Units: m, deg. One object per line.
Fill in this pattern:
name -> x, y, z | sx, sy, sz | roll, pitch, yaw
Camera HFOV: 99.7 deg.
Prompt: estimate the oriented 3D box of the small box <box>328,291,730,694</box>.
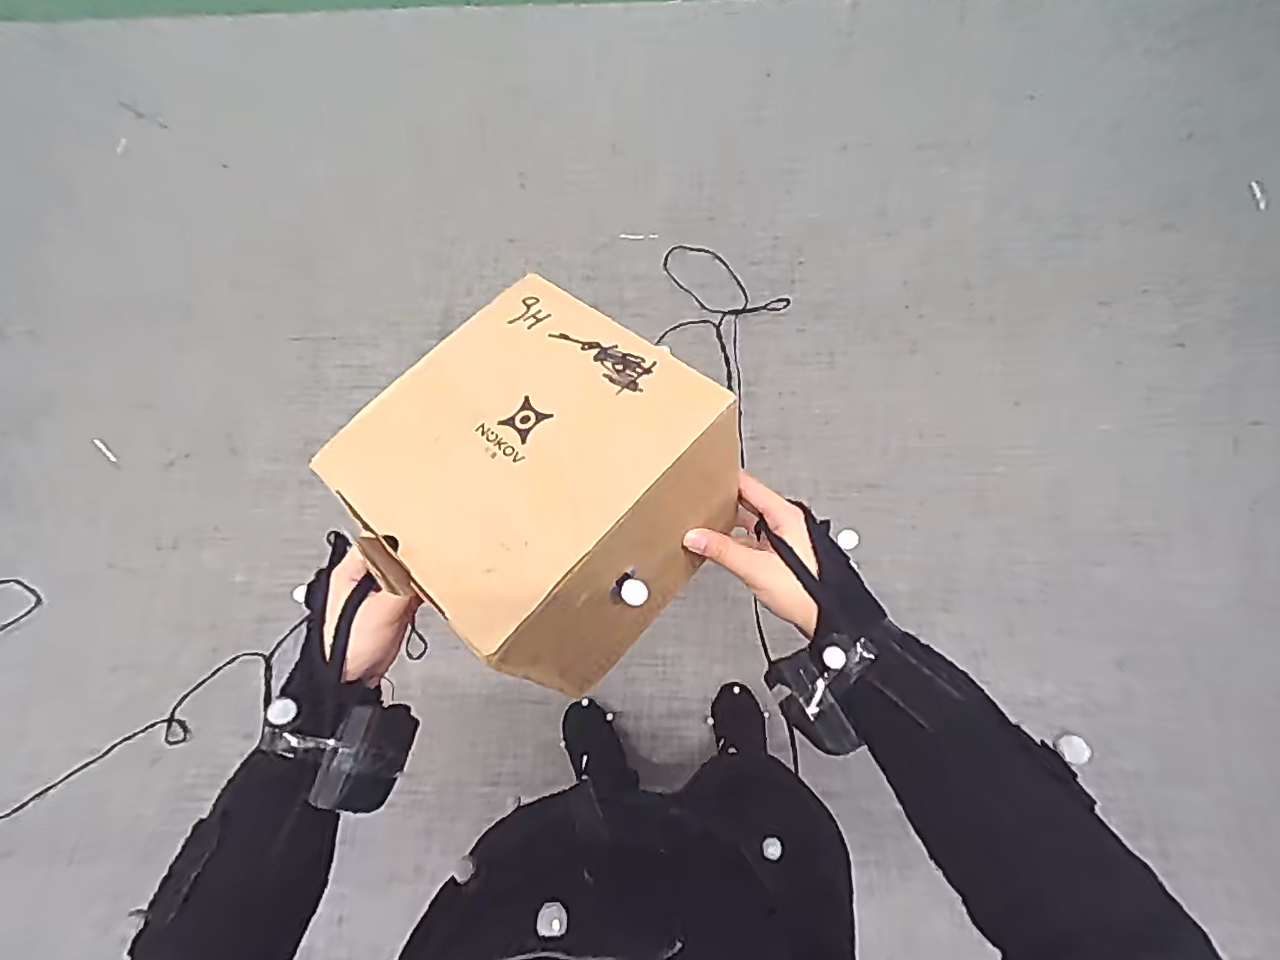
small box -> -0.051, 0.019, 0.363 | 0.168, 0.176, 0.179 | 37, 75, 25
